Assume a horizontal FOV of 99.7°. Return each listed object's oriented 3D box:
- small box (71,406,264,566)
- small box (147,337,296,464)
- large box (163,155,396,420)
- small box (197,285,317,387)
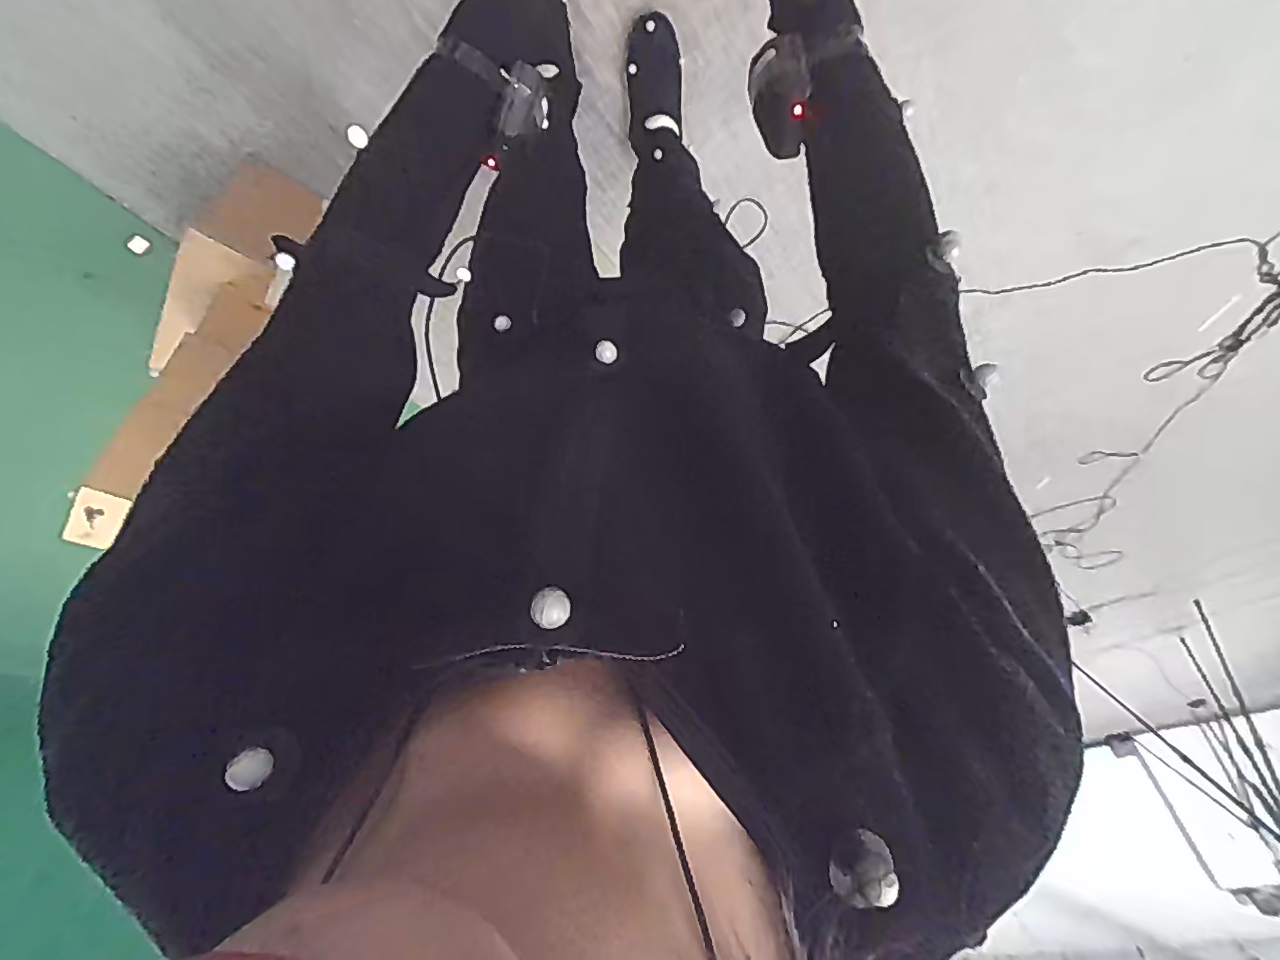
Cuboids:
[{"bbox_3d":[-0.739,0.011,0.861,0.168,0.176,0.179,-35,136,31],"label":"small box"},{"bbox_3d":[-0.750,-0.119,0.962,0.168,0.176,0.179,-33,135,30],"label":"small box"},{"bbox_3d":[-0.809,-0.419,1.235,0.320,0.320,0.408,26,133,-33],"label":"large box"},{"bbox_3d":[-0.769,-0.241,1.069,0.168,0.176,0.179,27,131,-37],"label":"small box"}]
